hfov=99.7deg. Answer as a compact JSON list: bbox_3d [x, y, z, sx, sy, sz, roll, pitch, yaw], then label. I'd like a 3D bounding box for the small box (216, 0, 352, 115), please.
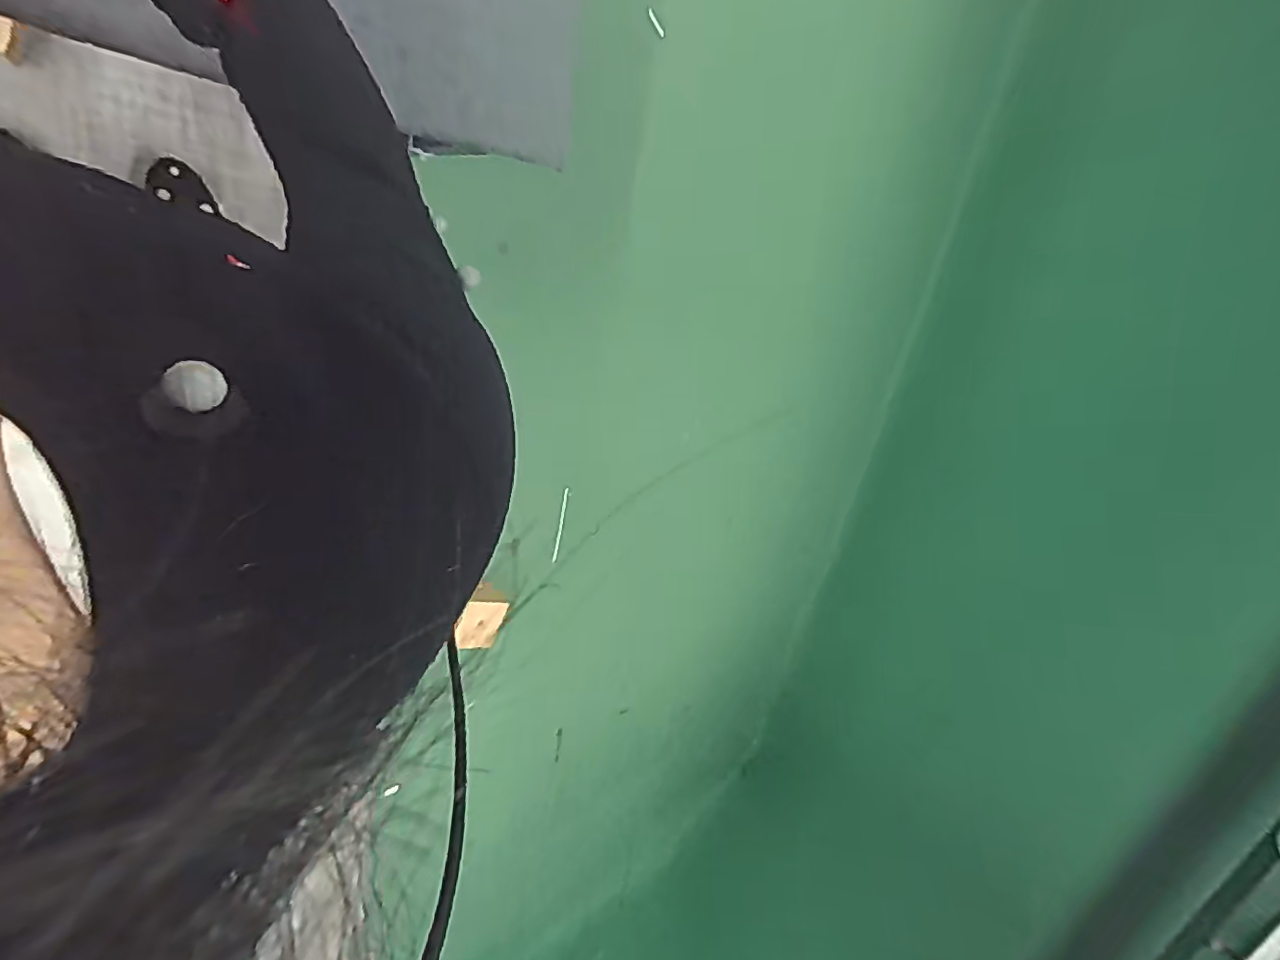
[{"bbox_3d":[-0.662,-0.800,0.999,0.179,0.176,0.168,-1,114,-46],"label":"small box"}]

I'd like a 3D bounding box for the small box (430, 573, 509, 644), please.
[{"bbox_3d":[-0.580,0.431,1.821,0.168,0.176,0.179,19,100,-49],"label":"small box"}]

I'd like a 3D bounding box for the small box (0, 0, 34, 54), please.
[{"bbox_3d":[-0.964,-0.727,0.738,0.179,0.176,0.168,20,97,-48],"label":"small box"}]
